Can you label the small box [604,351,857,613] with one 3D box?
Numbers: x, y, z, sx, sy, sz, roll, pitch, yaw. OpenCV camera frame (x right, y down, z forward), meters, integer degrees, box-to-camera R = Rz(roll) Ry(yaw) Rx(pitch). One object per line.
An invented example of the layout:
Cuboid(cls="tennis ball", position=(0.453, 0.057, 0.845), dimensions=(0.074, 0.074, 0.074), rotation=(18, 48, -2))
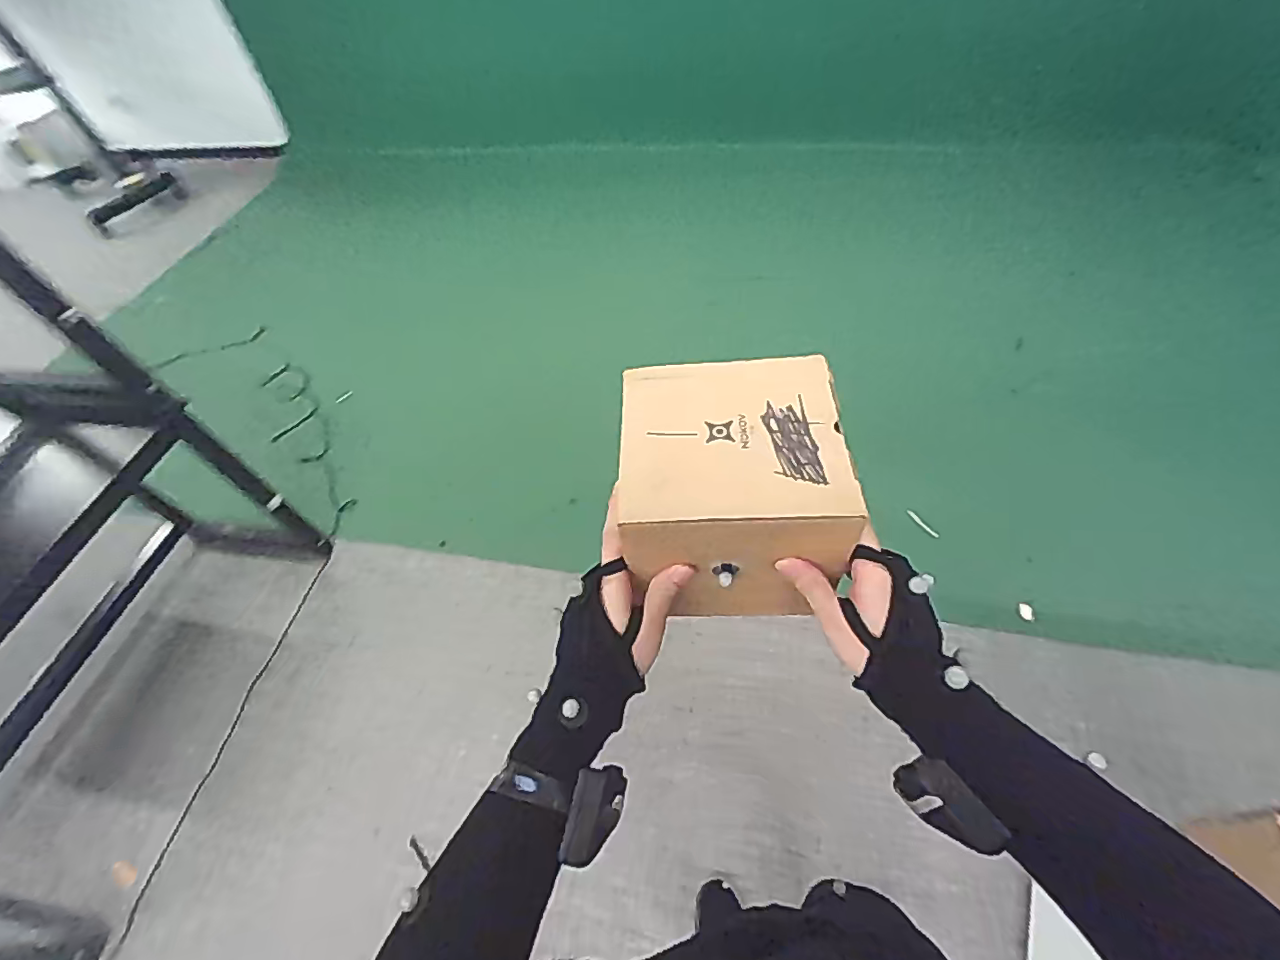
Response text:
Cuboid(cls="small box", position=(0.071, 0.009, 0.481), dimensions=(0.179, 0.176, 0.168), rotation=(-3, 52, 6))
